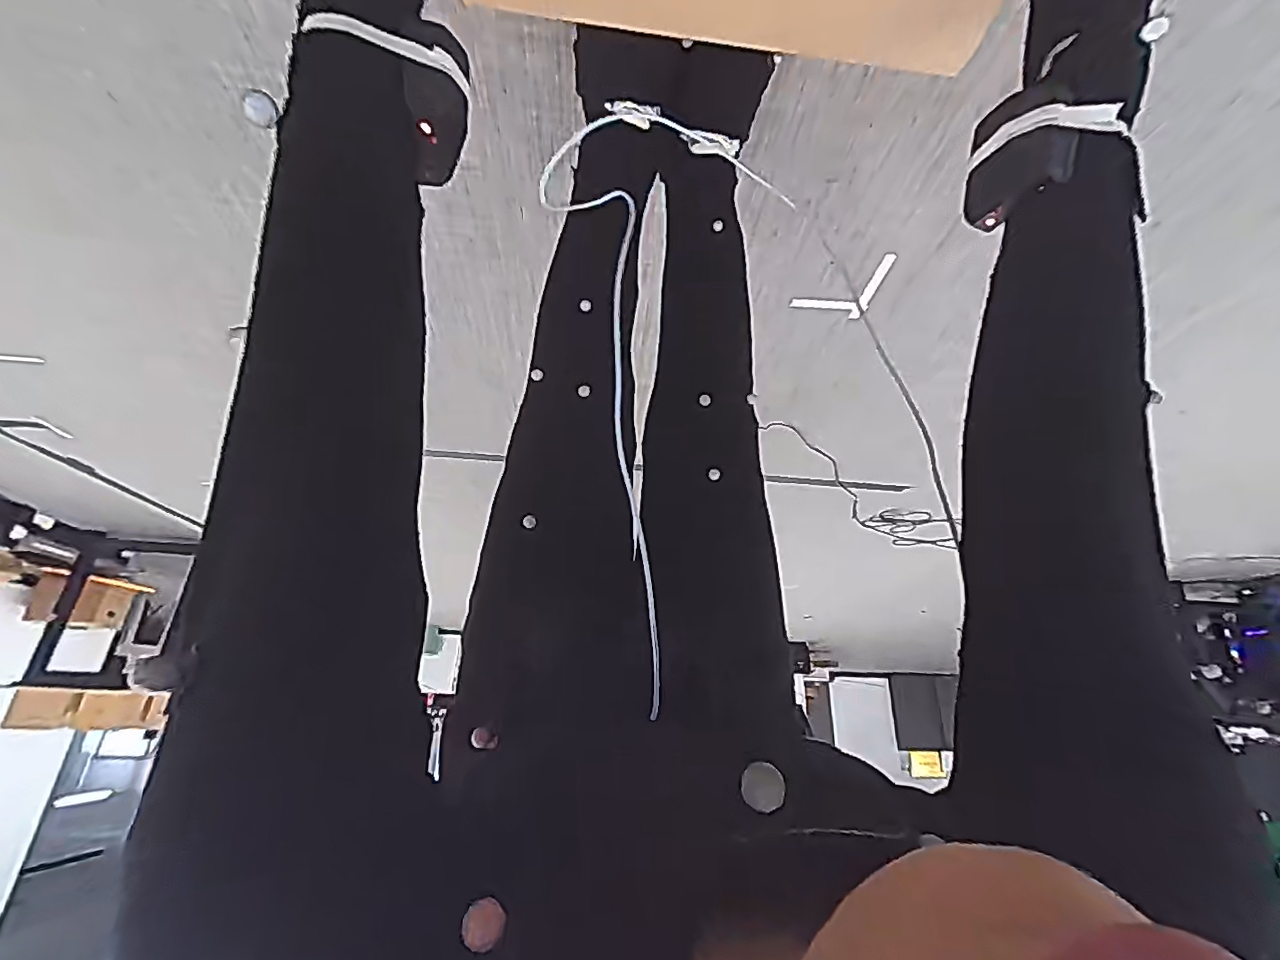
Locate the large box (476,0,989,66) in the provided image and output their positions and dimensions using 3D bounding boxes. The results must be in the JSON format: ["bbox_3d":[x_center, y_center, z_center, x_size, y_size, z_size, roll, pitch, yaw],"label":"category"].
[{"bbox_3d":[0.083,-0.556,0.361,0.408,0.320,0.320,4,157,-5],"label":"large box"}]
